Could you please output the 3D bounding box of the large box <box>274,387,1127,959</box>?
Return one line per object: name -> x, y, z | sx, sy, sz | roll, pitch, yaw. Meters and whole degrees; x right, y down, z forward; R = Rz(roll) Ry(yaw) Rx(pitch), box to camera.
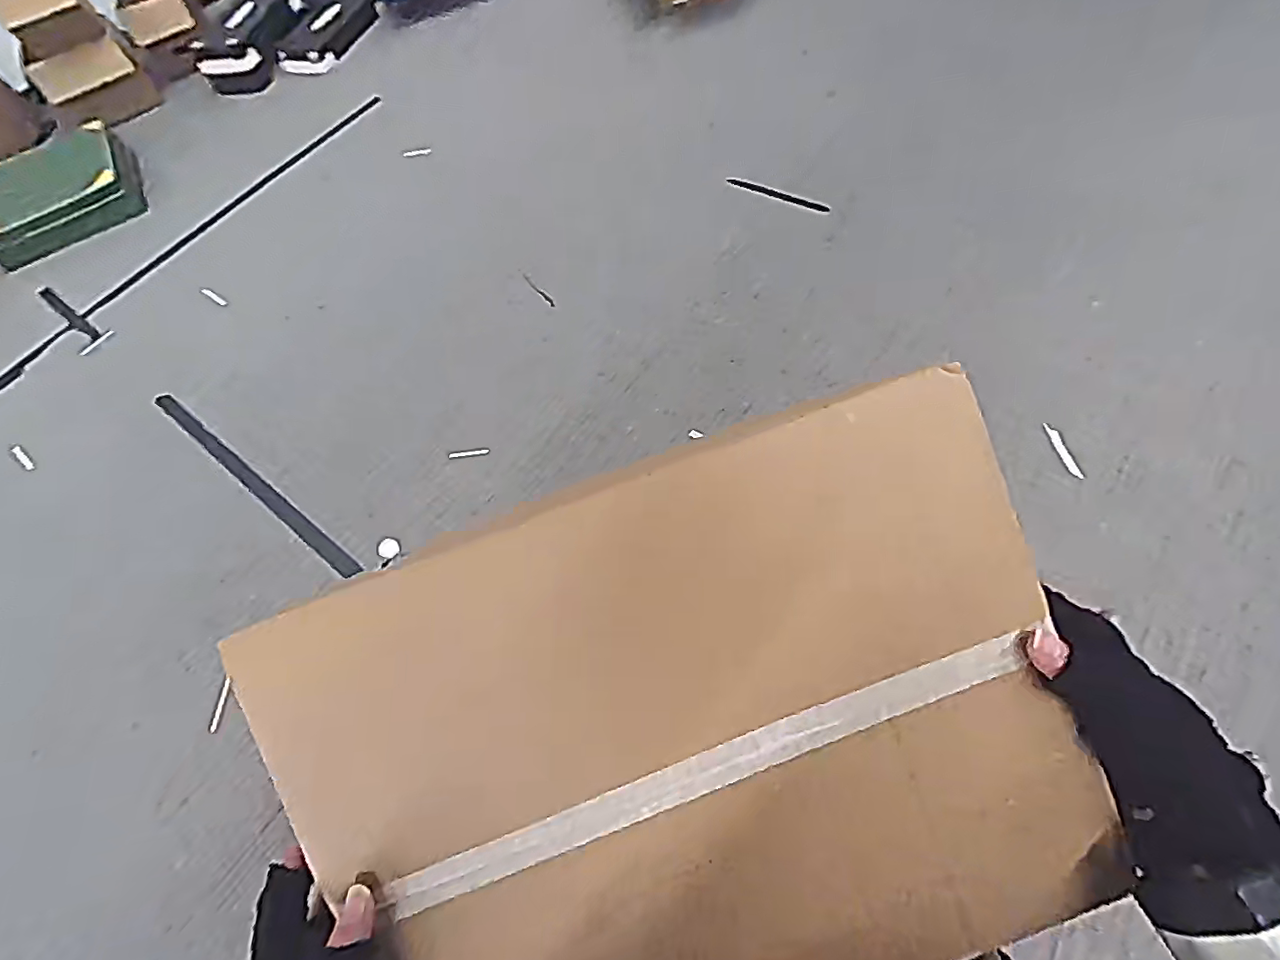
large box -> 0.035, 0.155, 0.444 | 0.408, 0.320, 0.320 | -21, 94, -1
